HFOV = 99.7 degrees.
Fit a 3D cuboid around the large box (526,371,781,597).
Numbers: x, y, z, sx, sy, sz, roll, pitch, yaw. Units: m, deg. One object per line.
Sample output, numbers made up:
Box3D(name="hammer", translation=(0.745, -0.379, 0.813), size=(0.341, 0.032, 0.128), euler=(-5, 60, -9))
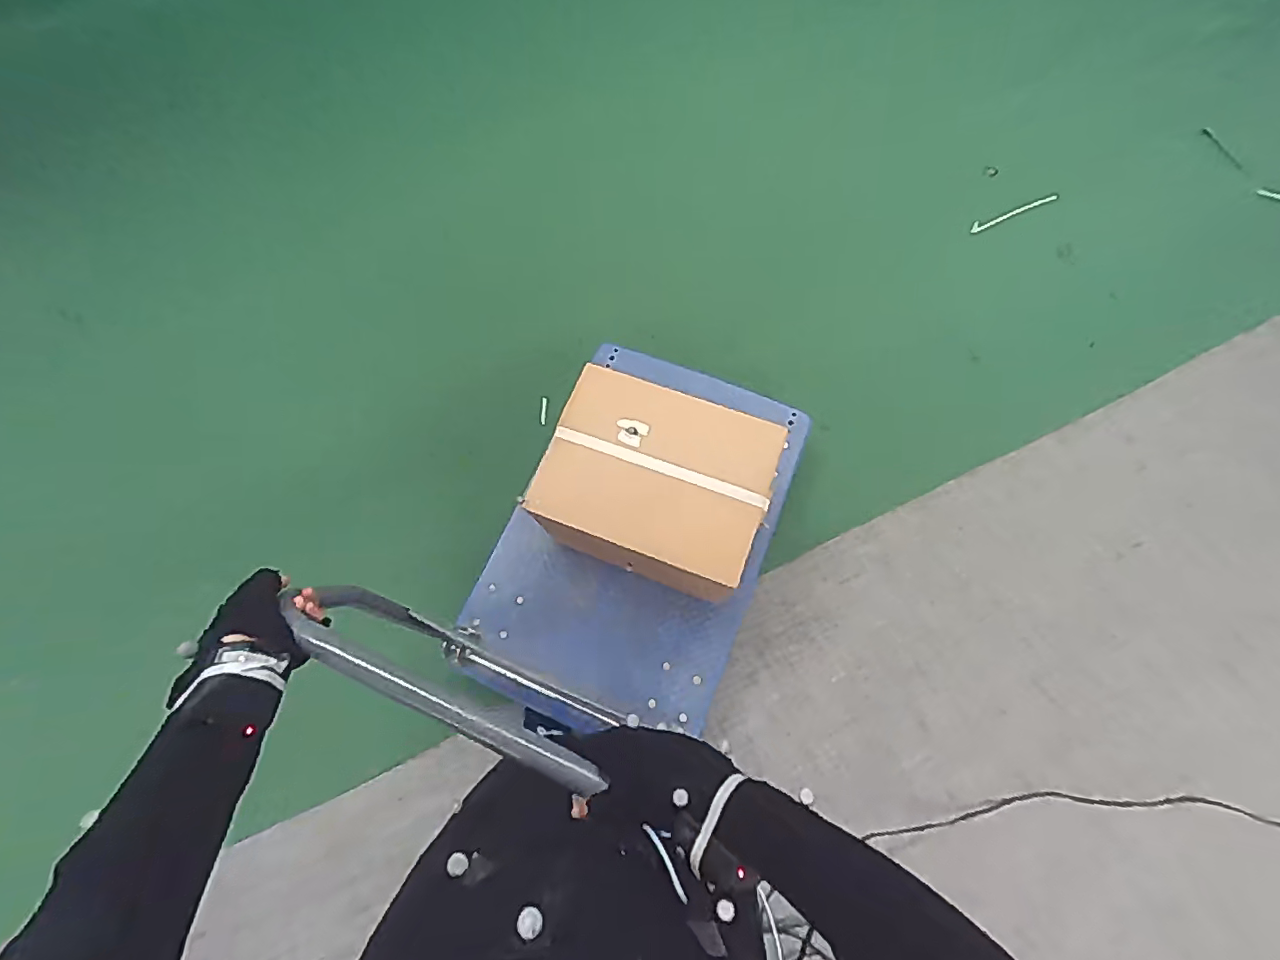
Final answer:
Box3D(name="large box", translation=(0.038, 0.026, 1.132), size=(0.408, 0.320, 0.320), euler=(19, 74, 9))
